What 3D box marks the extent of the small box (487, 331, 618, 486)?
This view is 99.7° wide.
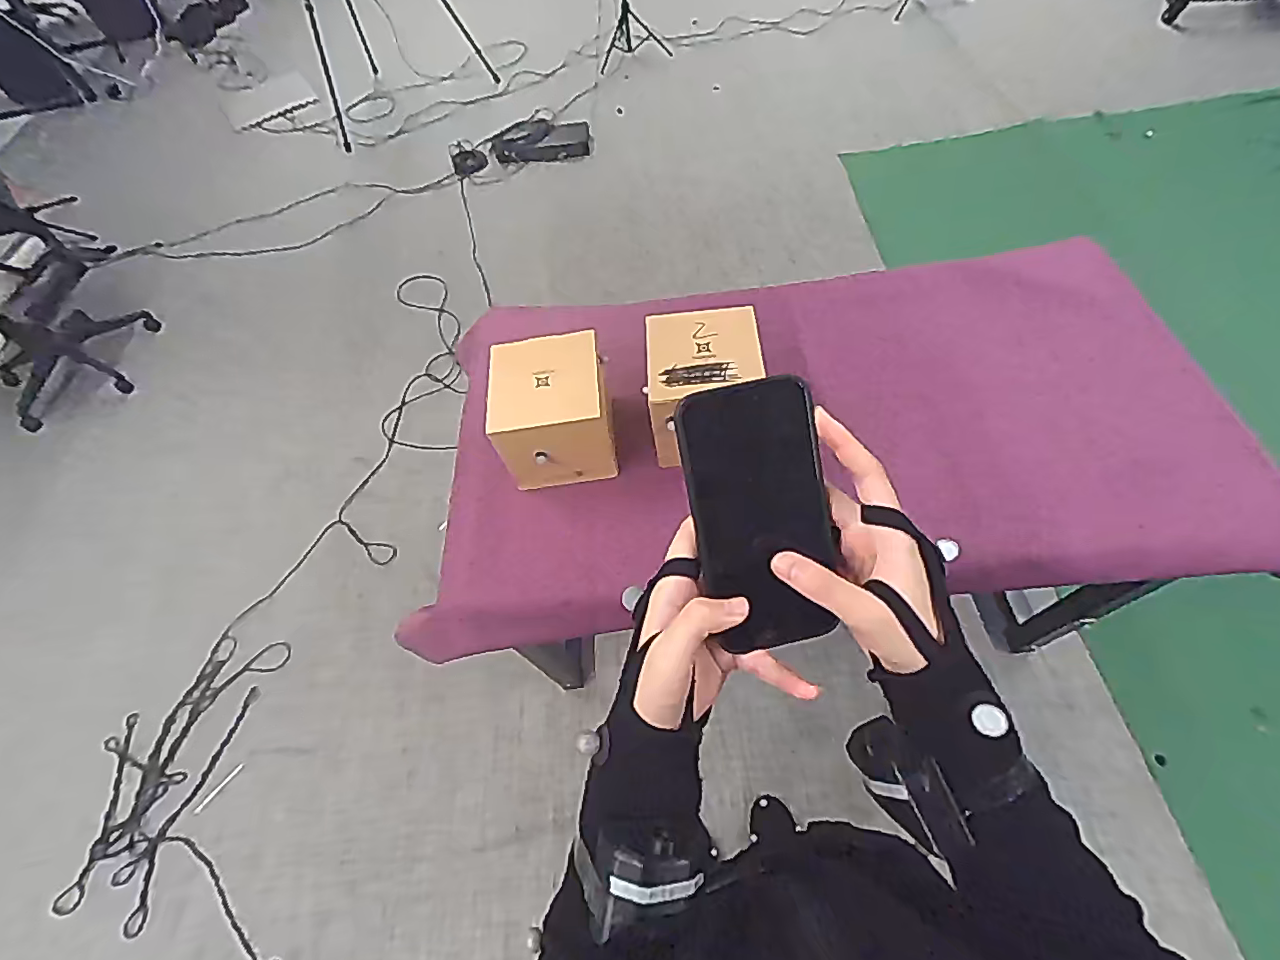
[{"bbox_3d":[-0.132,-0.103,0.860,0.168,0.176,0.179,-9,57,3],"label":"small box"}]
